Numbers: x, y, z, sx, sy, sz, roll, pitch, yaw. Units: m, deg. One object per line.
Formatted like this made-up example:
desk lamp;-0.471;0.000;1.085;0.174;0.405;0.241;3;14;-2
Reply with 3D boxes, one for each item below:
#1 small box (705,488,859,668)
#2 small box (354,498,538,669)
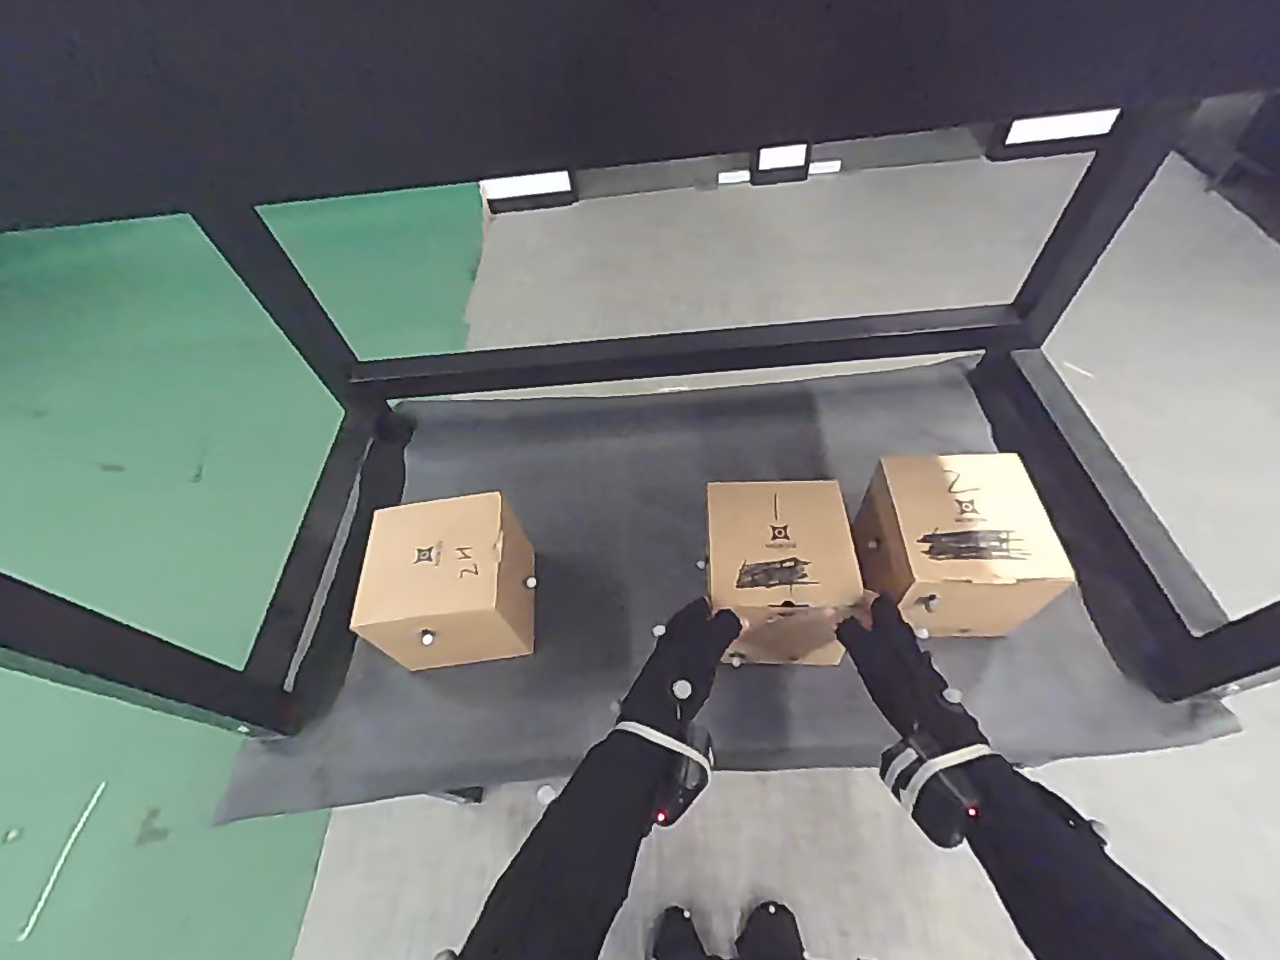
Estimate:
small box;0.169;0.129;0.695;0.168;0.176;0.179;-1;50;7
small box;-0.249;0.147;0.739;0.179;0.176;0.168;-8;54;1
